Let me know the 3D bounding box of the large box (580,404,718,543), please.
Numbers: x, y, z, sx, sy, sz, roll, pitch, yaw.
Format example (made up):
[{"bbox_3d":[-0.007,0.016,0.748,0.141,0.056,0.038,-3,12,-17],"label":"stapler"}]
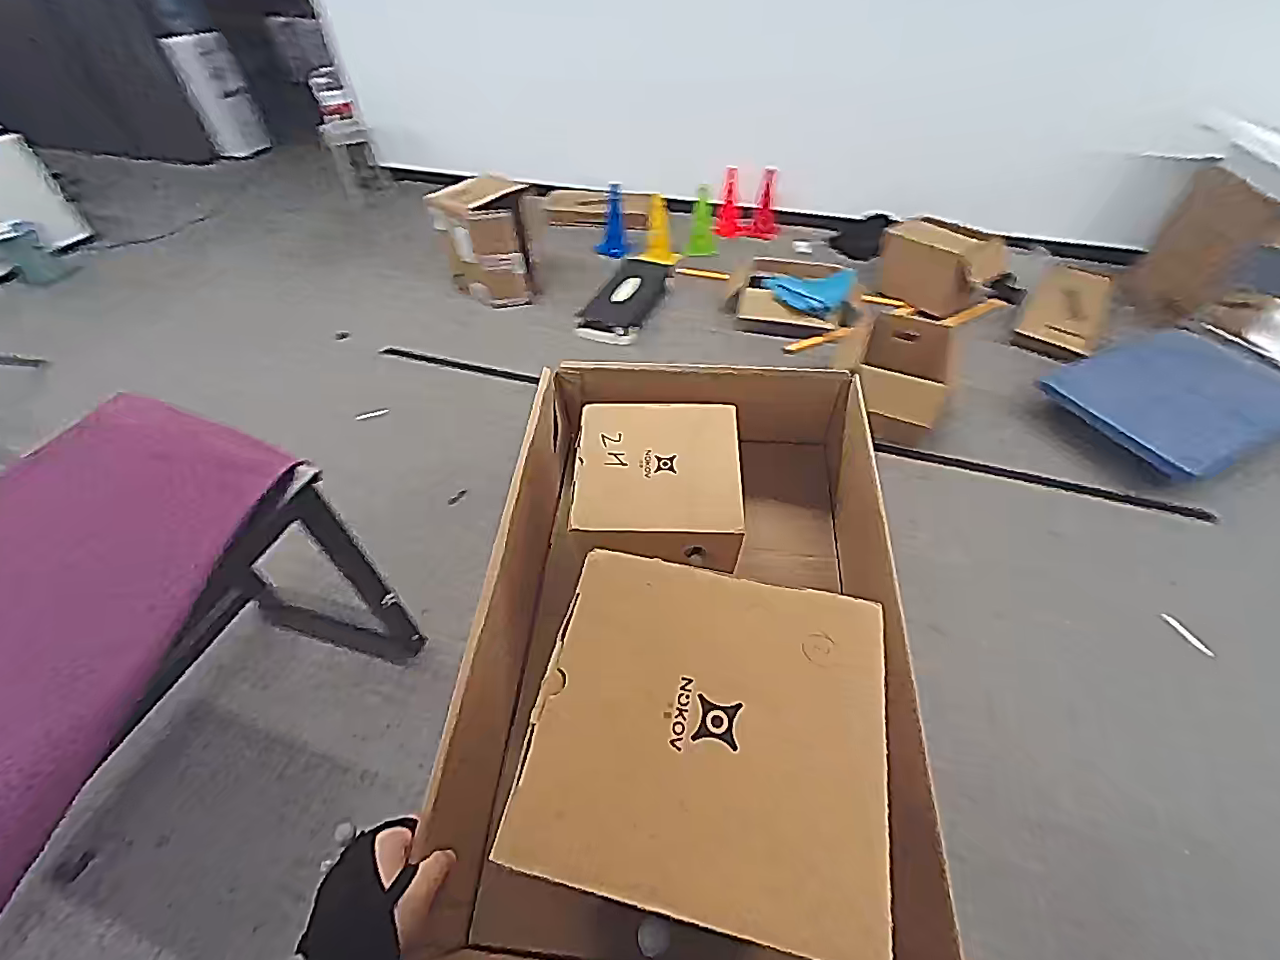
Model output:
[{"bbox_3d":[0.024,-0.020,1.814,0.408,0.320,0.320,-7,47,-3],"label":"large box"}]
